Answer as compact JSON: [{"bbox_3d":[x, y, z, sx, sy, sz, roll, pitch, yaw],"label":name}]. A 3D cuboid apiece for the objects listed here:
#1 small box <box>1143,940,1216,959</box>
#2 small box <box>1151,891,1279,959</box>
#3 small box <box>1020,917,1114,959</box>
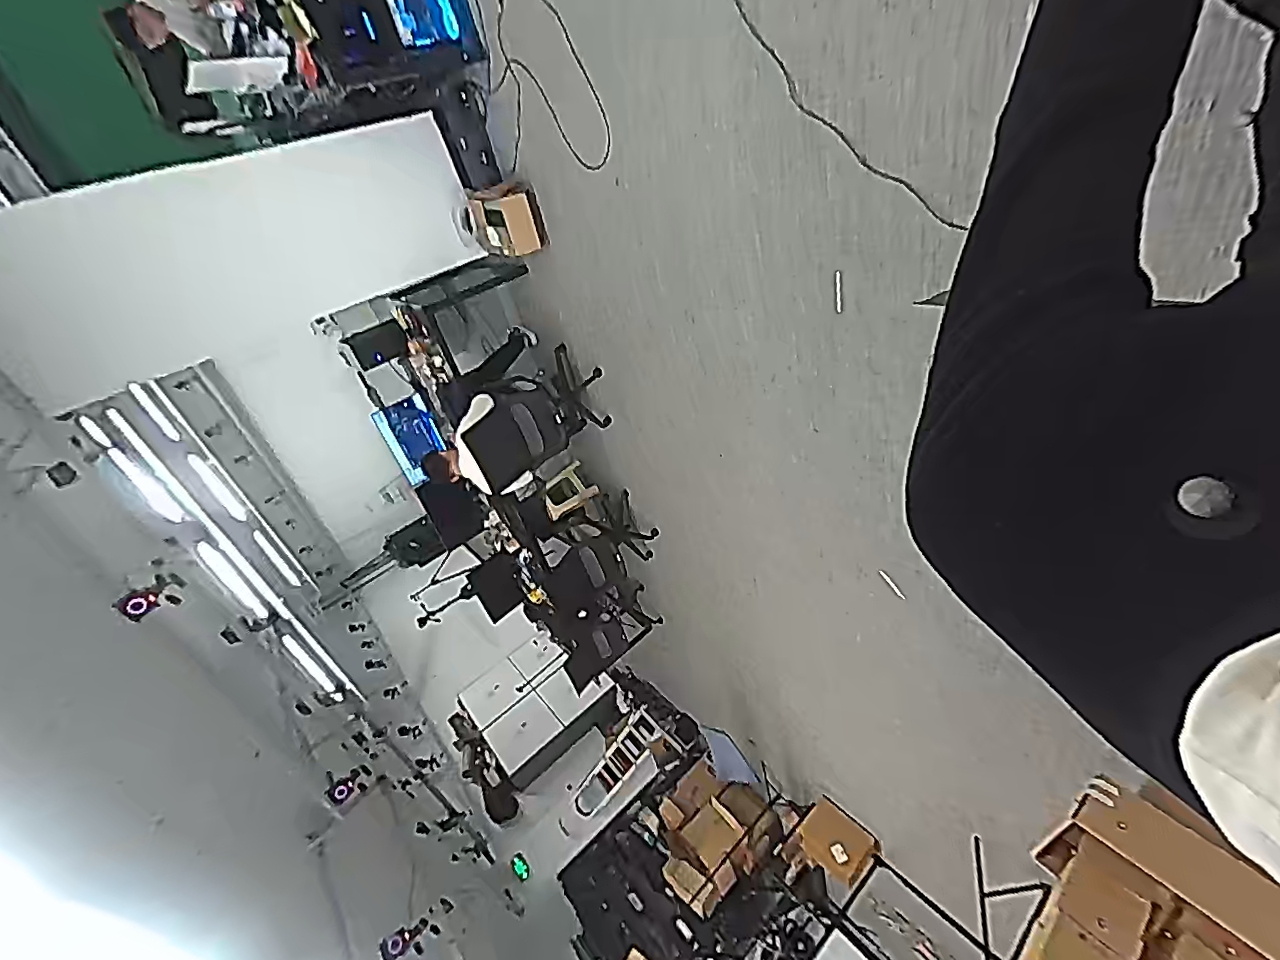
[{"bbox_3d":[1.410,1.314,1.371,0.179,0.176,0.168,39,151,34],"label":"small box"},{"bbox_3d":[1.539,1.242,1.442,0.179,0.176,0.168,36,150,38],"label":"small box"},{"bbox_3d":[1.151,1.323,1.446,0.168,0.176,0.179,33,148,36],"label":"small box"}]
